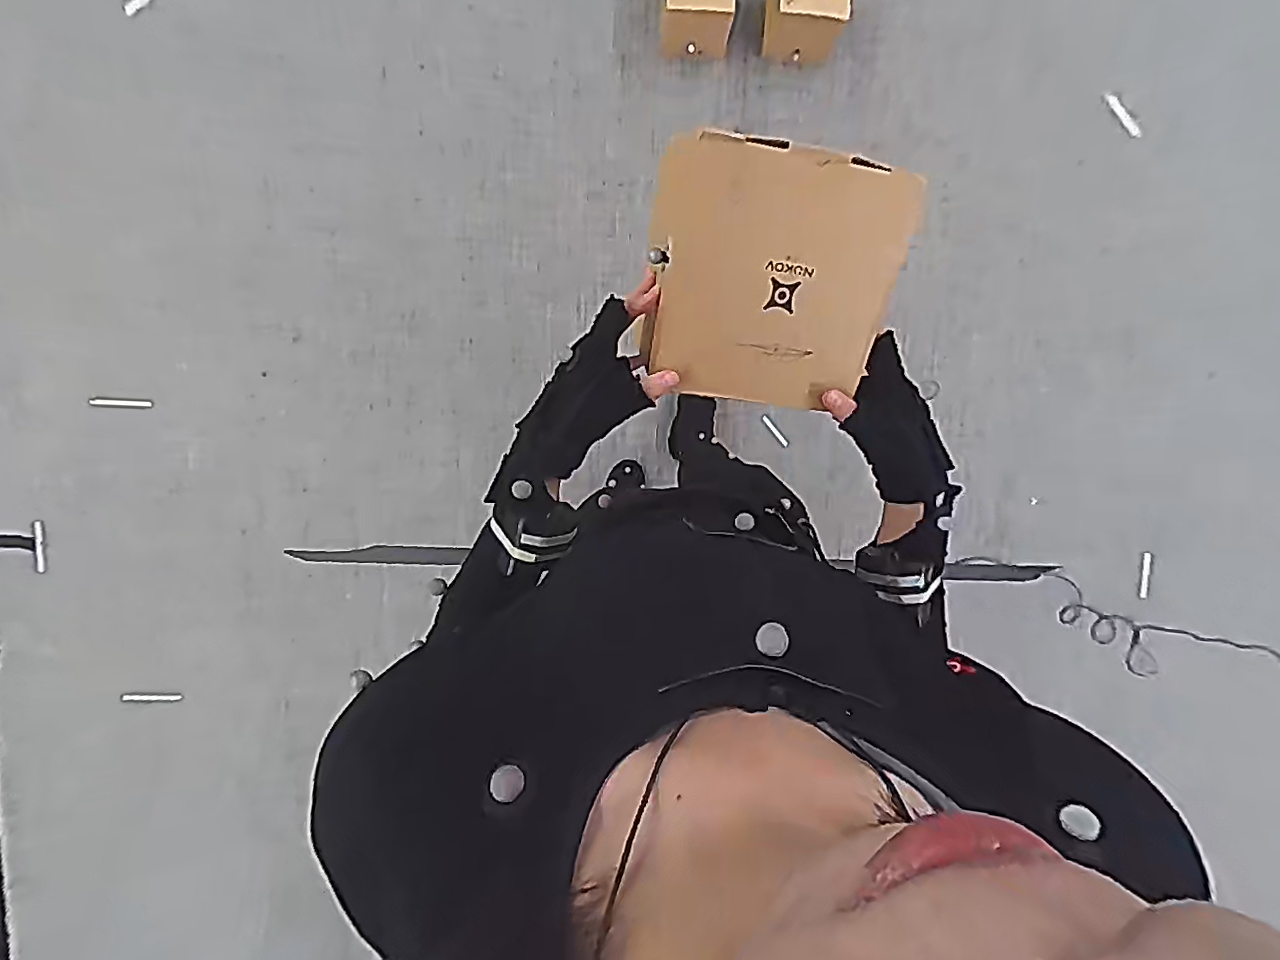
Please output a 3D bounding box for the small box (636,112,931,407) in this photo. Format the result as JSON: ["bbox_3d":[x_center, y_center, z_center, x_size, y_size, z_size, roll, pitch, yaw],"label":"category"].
[{"bbox_3d":[0.094,-0.181,0.456,0.168,0.176,0.179,6,117,-10],"label":"small box"}]

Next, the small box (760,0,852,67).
[{"bbox_3d":[0.419,-1.189,1.367,0.179,0.176,0.168,4,95,-5],"label":"small box"}]

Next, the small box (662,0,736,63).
[{"bbox_3d":[0.143,-1.195,1.349,0.168,0.176,0.179,0,95,-3],"label":"small box"}]
